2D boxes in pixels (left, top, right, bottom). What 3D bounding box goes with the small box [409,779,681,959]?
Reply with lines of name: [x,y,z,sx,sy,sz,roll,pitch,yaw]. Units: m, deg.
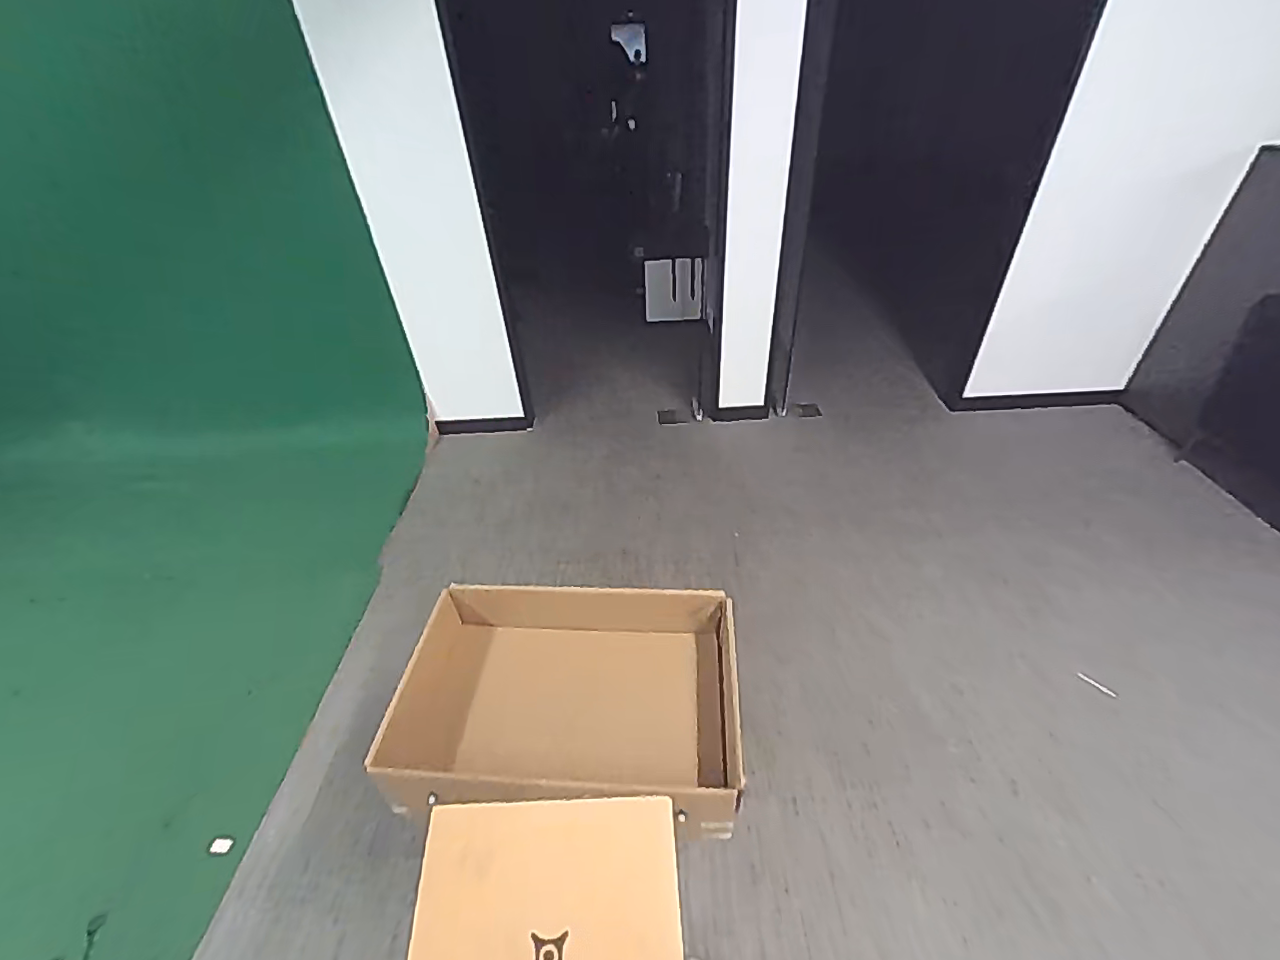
small box: [-0.064,0.335,0.391,0.168,0.176,0.179,0,50,-6]
